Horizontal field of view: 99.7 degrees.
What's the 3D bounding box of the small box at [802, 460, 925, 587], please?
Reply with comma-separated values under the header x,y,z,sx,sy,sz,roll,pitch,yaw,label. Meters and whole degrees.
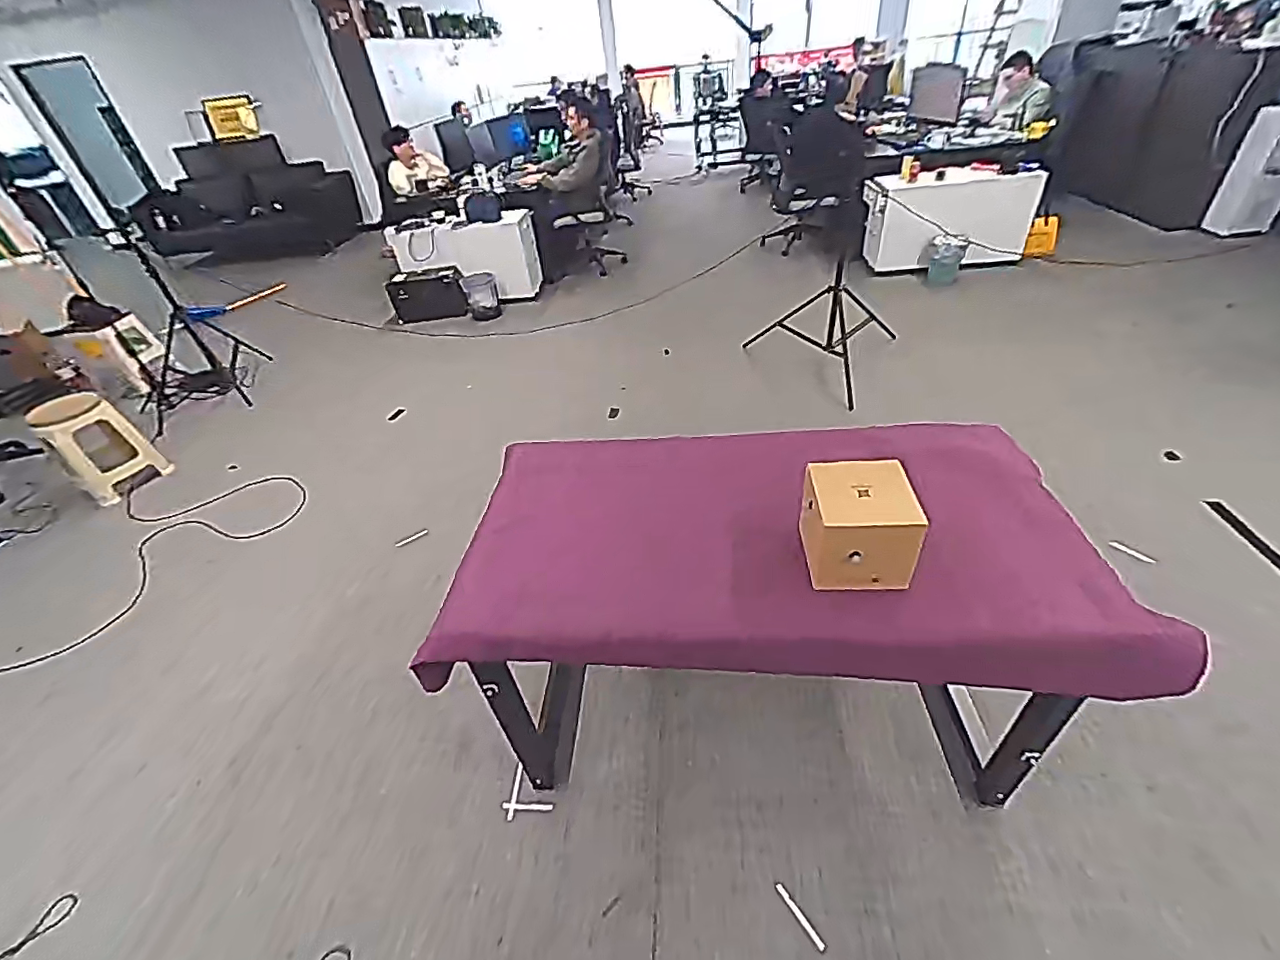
x,y,z,sx,sy,sz,roll,pitch,yaw,label
0.397,0.083,0.994,0.168,0.176,0.179,-2,38,7,small box
